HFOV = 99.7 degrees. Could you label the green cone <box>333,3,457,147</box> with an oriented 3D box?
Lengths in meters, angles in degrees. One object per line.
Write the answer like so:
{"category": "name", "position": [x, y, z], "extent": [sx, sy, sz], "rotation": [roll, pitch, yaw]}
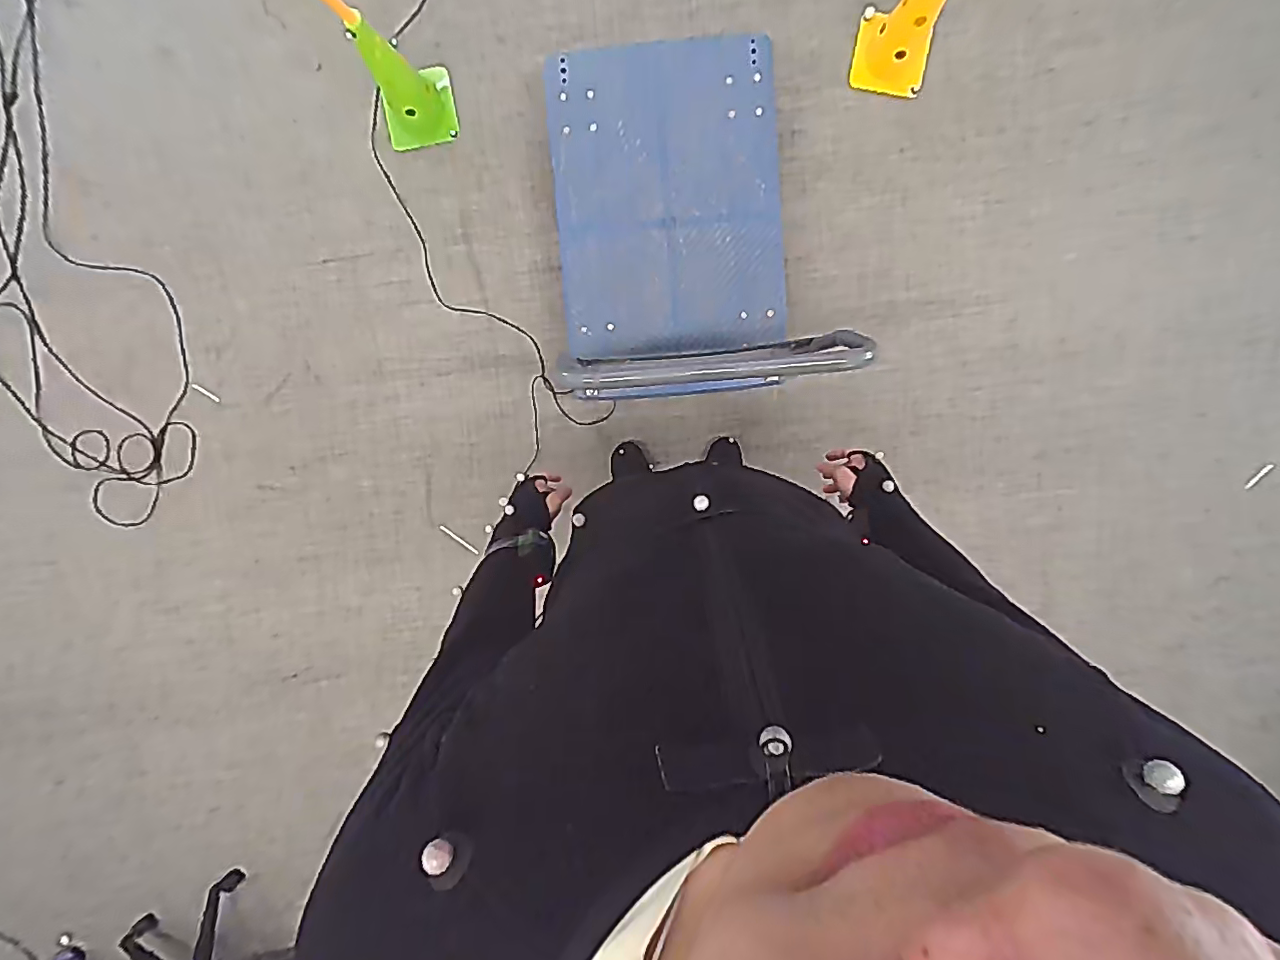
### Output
{"category": "green cone", "position": [-0.635, -1.041, 1.352], "extent": [0.202, 0.368, 0.200], "rotation": [-10, 95, 4]}
